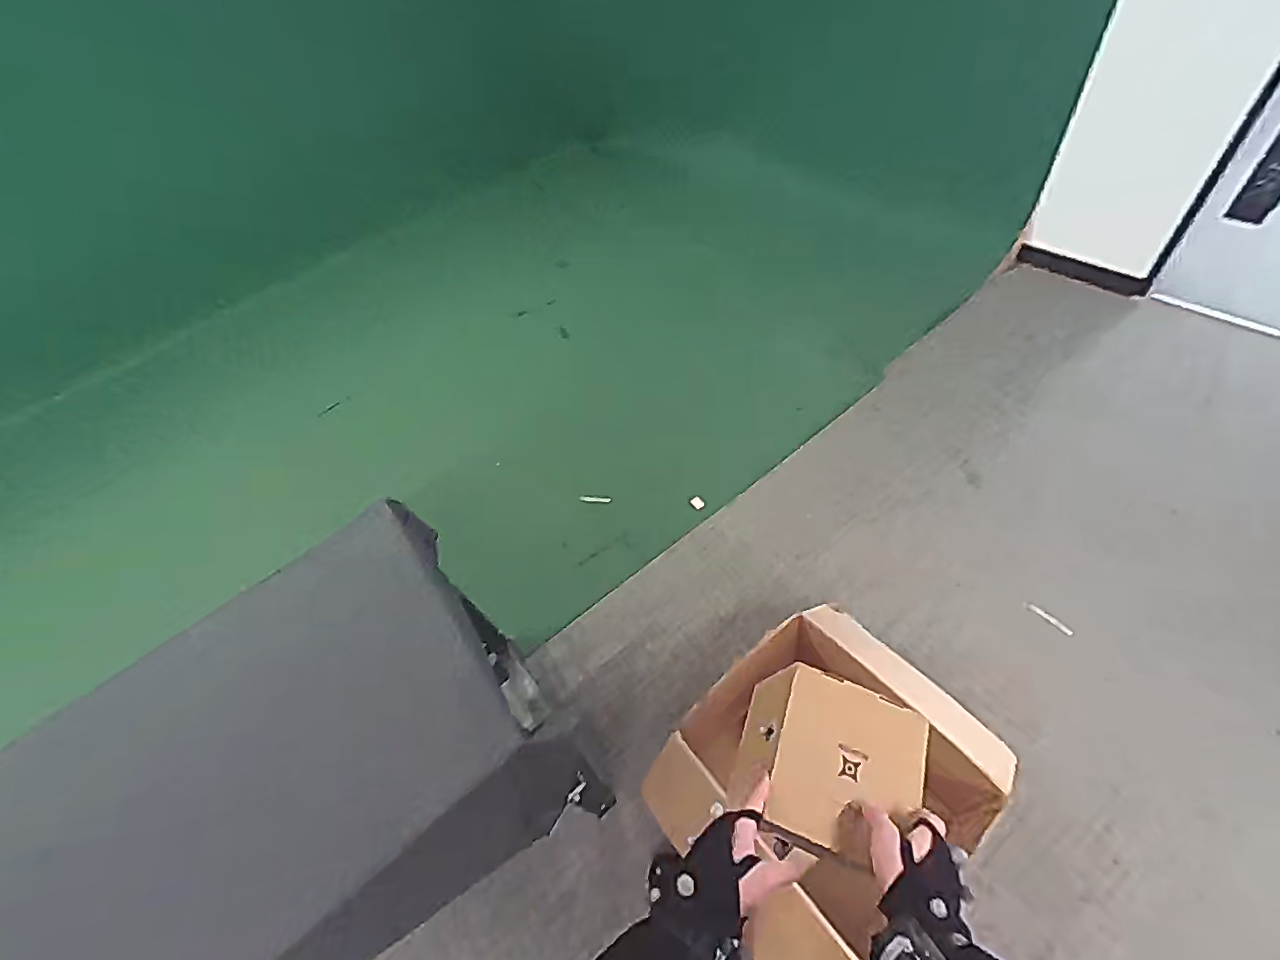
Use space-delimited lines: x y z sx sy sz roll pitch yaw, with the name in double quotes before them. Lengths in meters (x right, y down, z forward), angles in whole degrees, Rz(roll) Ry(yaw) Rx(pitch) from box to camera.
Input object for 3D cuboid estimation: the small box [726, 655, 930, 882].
"small box" 0.219 0.342 0.656 0.168 0.176 0.179 23 60 4
